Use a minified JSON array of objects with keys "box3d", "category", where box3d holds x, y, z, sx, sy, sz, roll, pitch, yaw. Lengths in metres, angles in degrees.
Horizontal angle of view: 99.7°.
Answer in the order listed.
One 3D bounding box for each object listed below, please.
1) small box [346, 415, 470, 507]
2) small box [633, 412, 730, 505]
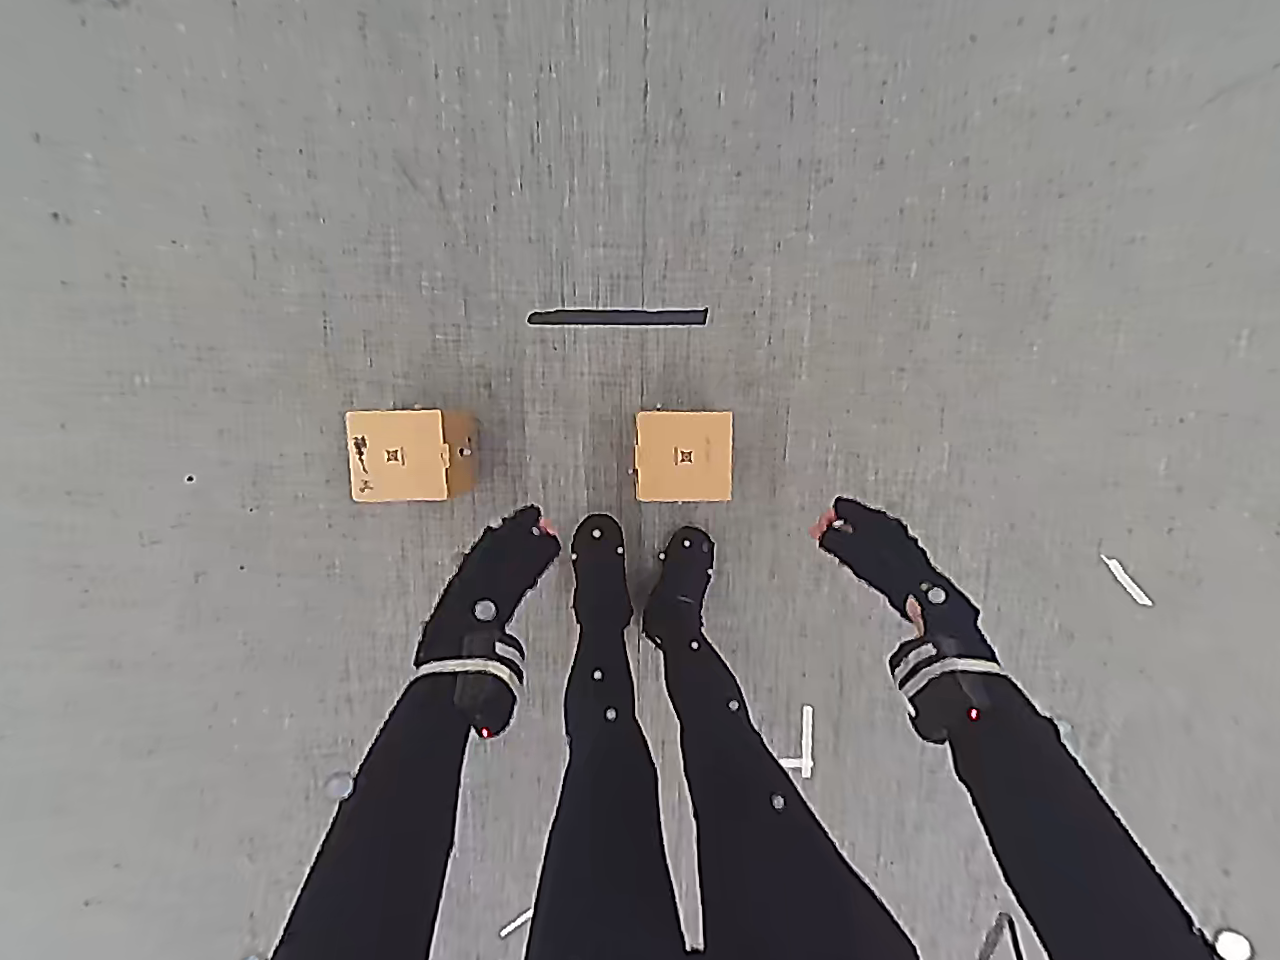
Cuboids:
[{"box3d":[-0.438,-0.042,1.051,0.179,0.176,0.168,-1,97,-1],"category":"small box"},{"box3d":[0.075,-0.046,1.059,0.179,0.176,0.168,-1,99,-2],"category":"small box"}]
